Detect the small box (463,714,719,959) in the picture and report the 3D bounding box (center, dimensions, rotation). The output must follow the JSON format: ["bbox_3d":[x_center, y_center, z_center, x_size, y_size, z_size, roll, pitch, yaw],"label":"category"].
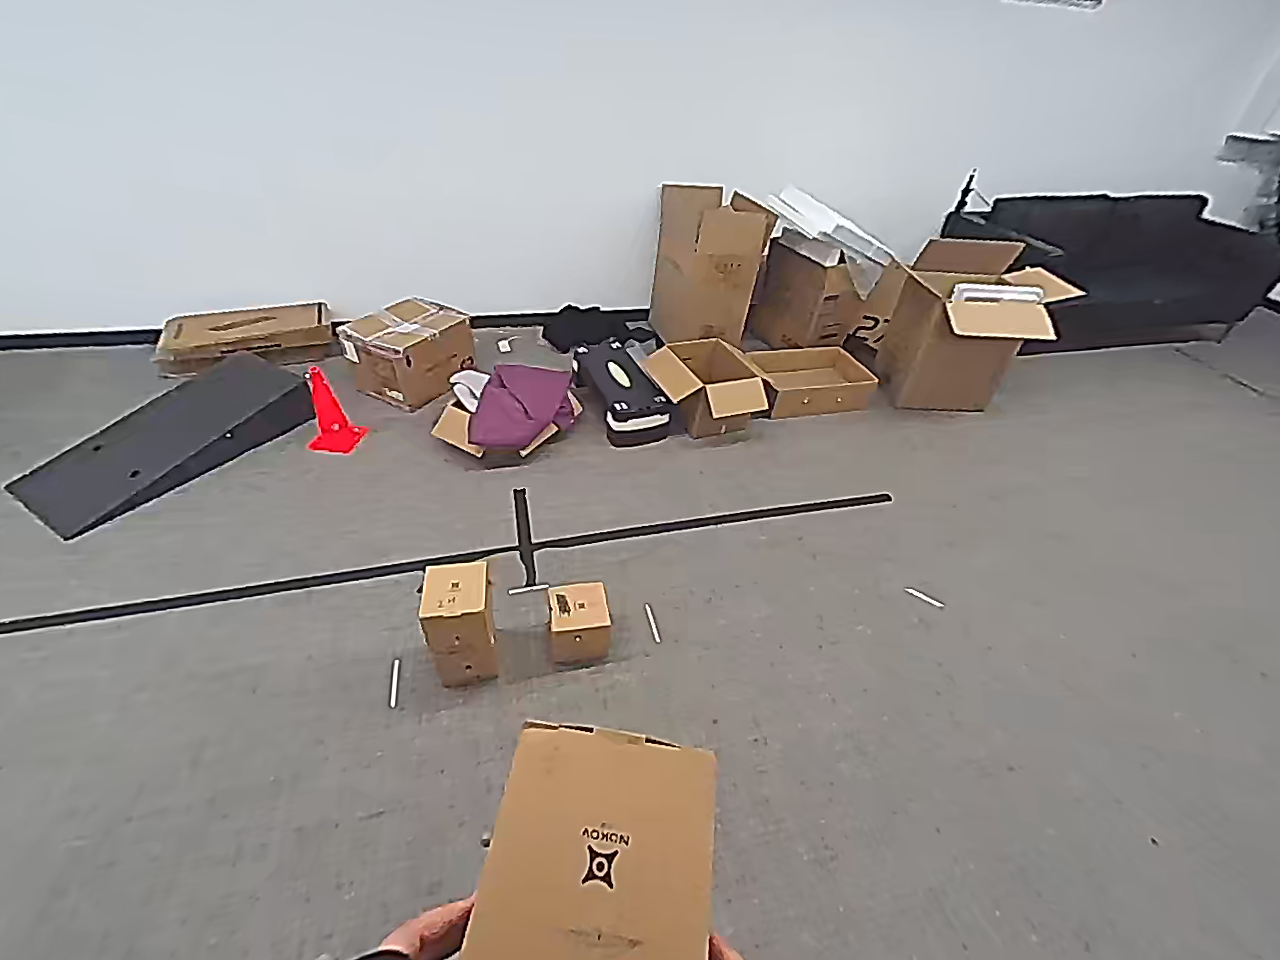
[{"bbox_3d":[-0.034,0.326,0.459,0.168,0.176,0.179,9,51,1],"label":"small box"}]

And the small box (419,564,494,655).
[{"bbox_3d":[-0.503,0.360,1.506,0.168,0.176,0.179,-4,41,-10],"label":"small box"}]

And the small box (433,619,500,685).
[{"bbox_3d":[-0.515,0.488,1.610,0.168,0.176,0.179,-8,42,-14],"label":"small box"}]

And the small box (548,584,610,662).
[{"bbox_3d":[-0.193,0.450,1.692,0.179,0.176,0.168,-4,41,-12],"label":"small box"}]
